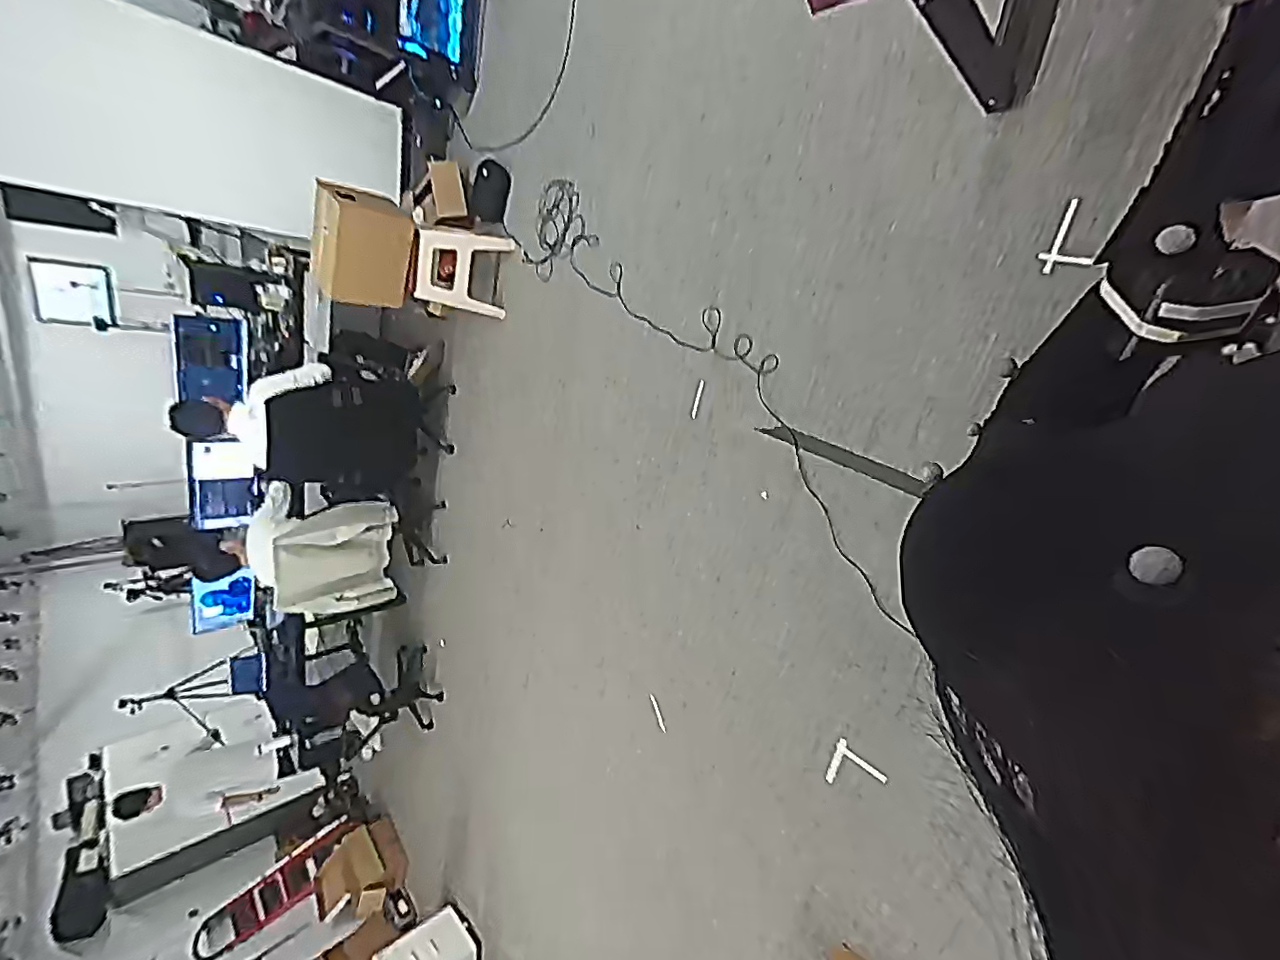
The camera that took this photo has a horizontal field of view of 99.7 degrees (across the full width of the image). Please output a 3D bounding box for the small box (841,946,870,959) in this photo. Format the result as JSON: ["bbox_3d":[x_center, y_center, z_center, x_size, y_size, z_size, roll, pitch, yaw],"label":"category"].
[{"bbox_3d":[0.681,1.626,1.685,0.179,0.176,0.168,28,114,41],"label":"small box"}]
